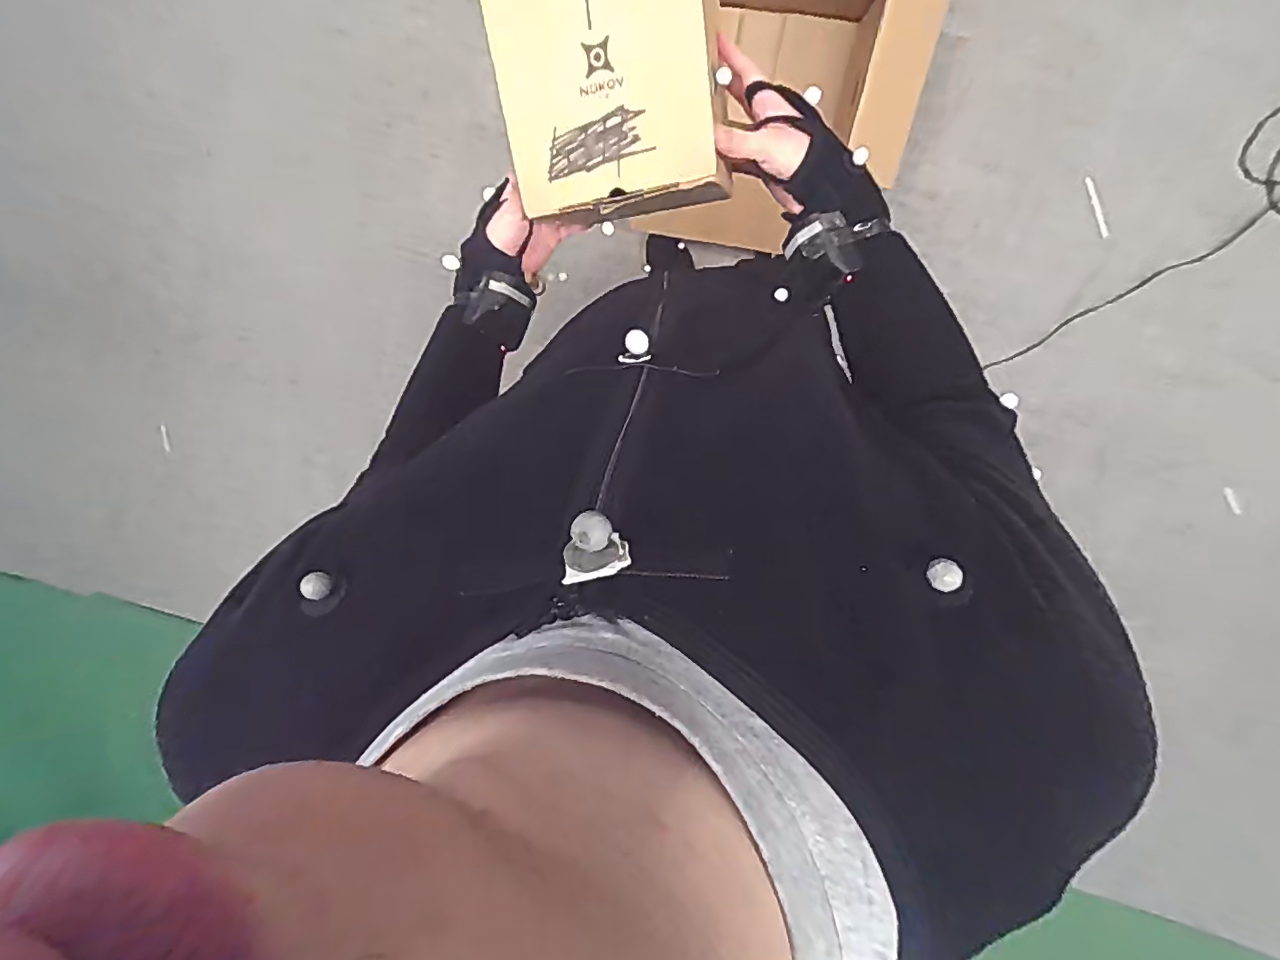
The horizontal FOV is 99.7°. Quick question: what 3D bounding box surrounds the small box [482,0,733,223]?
[{"bbox_3d":[-0.012,-0.333,0.476,0.168,0.176,0.179,-4,111,15],"label":"small box"}]
